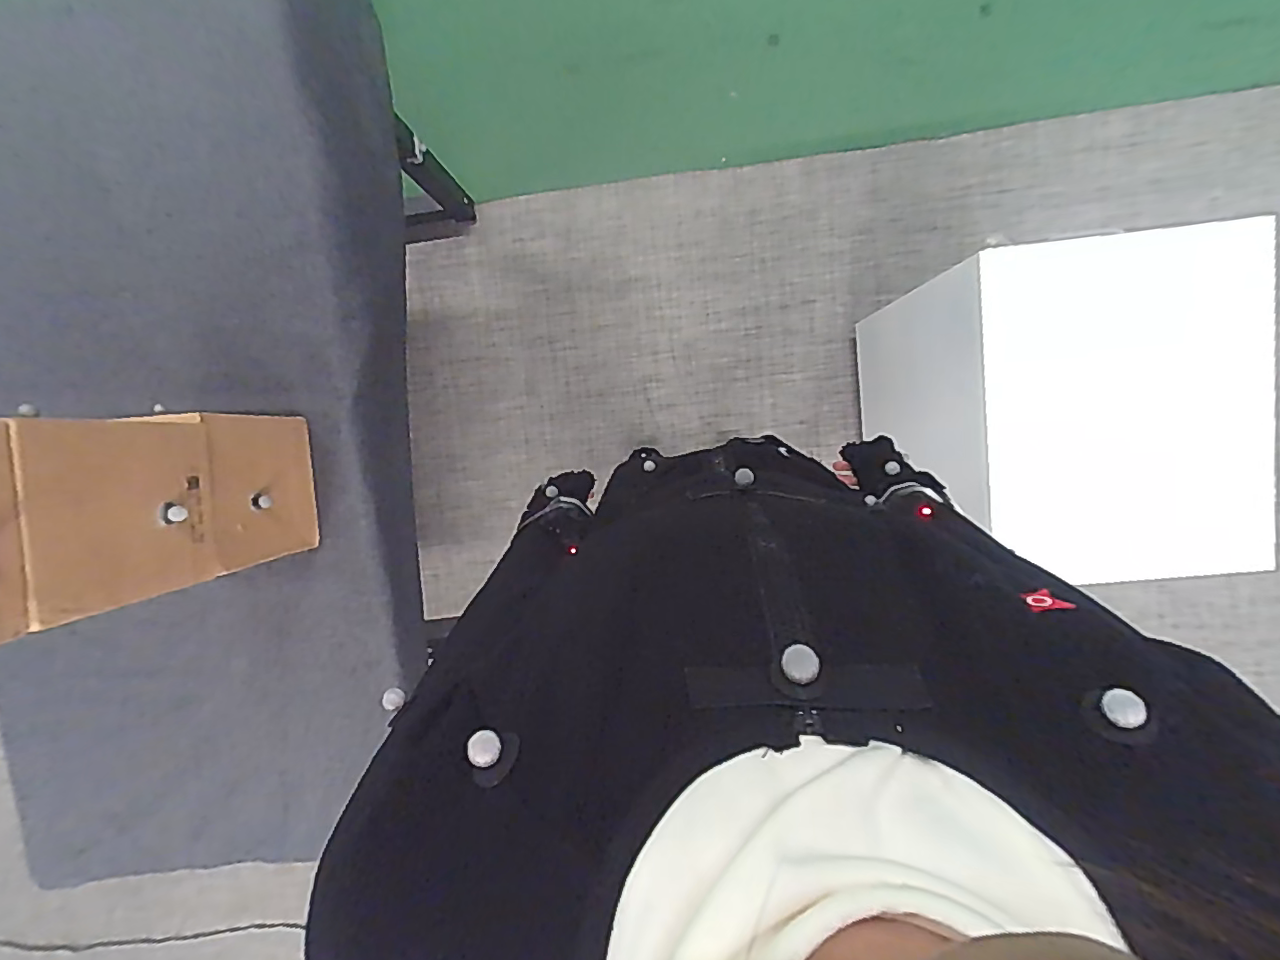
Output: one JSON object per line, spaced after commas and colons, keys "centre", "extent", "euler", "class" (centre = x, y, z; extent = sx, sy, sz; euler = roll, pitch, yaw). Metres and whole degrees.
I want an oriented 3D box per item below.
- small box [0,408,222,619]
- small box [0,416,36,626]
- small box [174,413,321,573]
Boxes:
{"centre": [-0.545, 0.024, 0.504], "extent": [0.179, 0.176, 0.168], "euler": [-3, 95, 7], "class": "small box"}
{"centre": [-0.561, 0.040, 0.344], "extent": [0.179, 0.176, 0.168], "euler": [-1, 96, 4], "class": "small box"}
{"centre": [-0.526, 0.009, 0.667], "extent": [0.168, 0.176, 0.179], "euler": [-3, 95, 5], "class": "small box"}
